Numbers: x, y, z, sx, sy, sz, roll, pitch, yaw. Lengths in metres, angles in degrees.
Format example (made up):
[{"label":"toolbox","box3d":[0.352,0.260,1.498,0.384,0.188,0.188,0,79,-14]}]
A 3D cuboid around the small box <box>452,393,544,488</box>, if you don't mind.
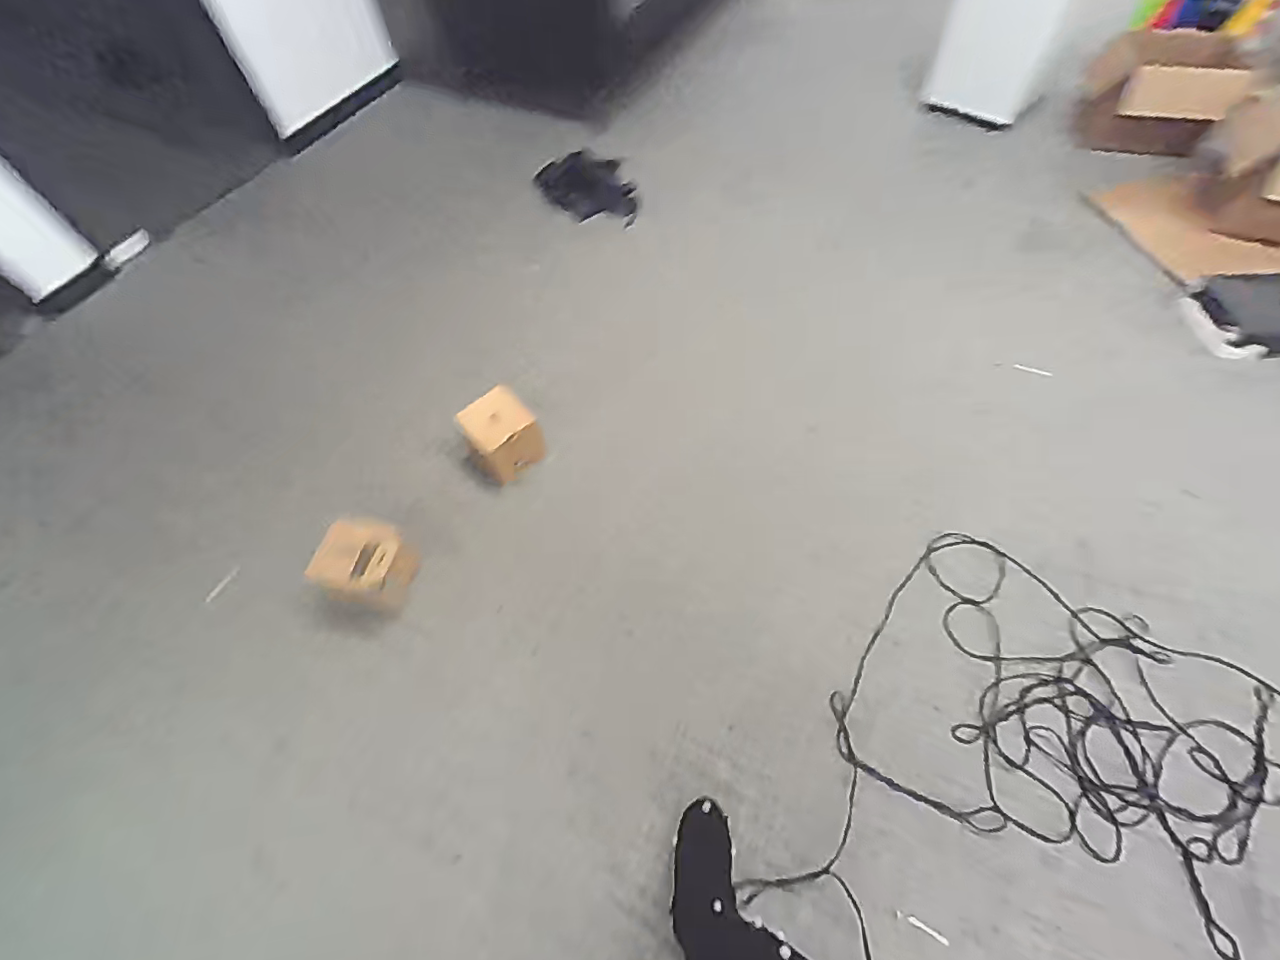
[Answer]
[{"label":"small box","box3d":[-0.398,-0.108,1.539,0.168,0.176,0.179,-41,65,-20]}]
